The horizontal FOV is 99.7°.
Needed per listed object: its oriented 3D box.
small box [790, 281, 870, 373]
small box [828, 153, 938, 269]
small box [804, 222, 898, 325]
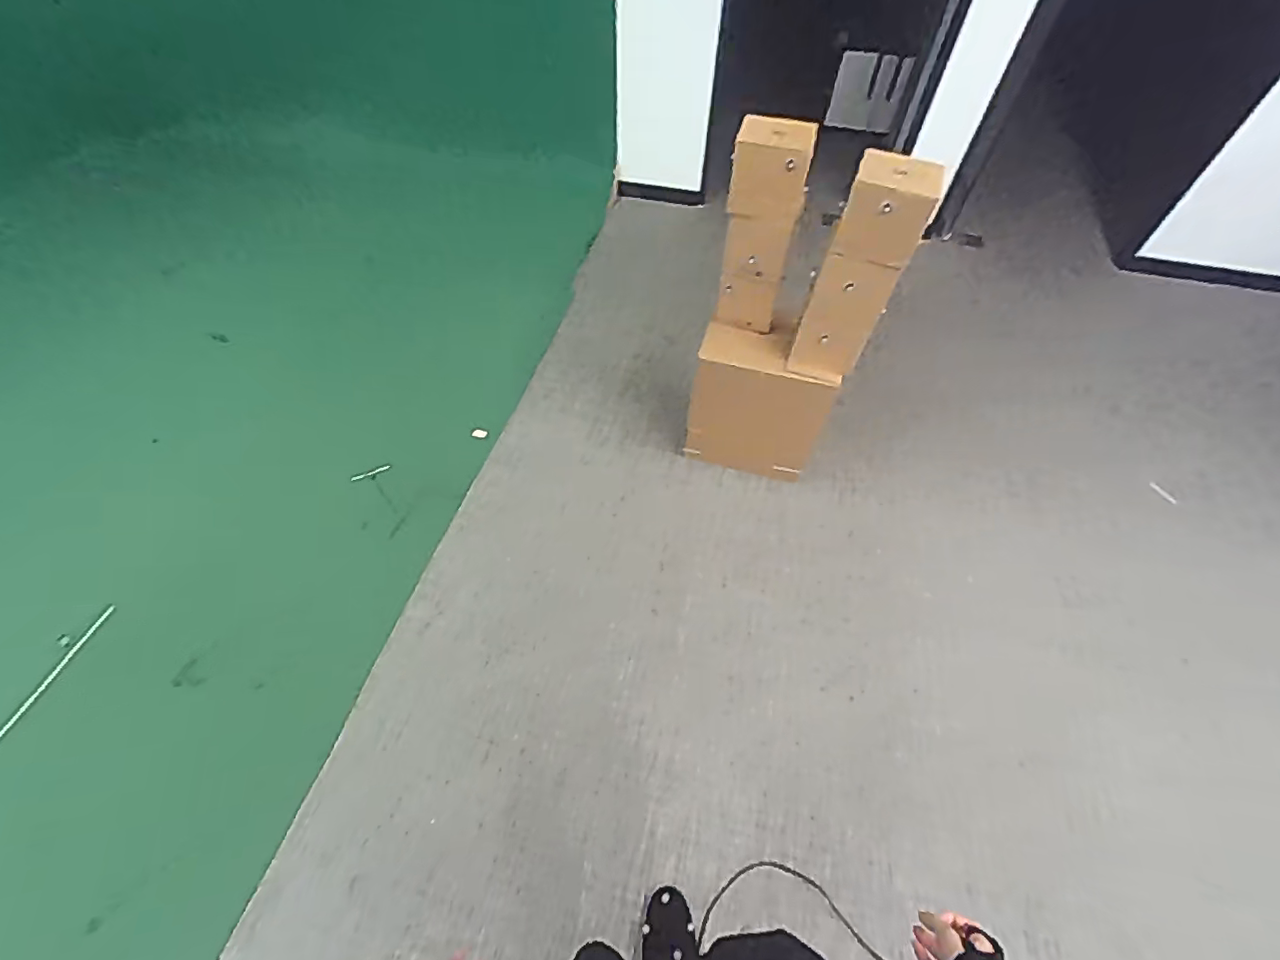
[{"bbox_3d":[0.525,-0.420,1.496,0.179,0.176,0.168,15,57,10],"label":"small box"},{"bbox_3d":[0.546,-0.608,1.230,0.179,0.176,0.168,19,56,10],"label":"small box"},{"bbox_3d":[0.534,-0.517,1.364,0.179,0.176,0.168,16,55,10],"label":"small box"}]
